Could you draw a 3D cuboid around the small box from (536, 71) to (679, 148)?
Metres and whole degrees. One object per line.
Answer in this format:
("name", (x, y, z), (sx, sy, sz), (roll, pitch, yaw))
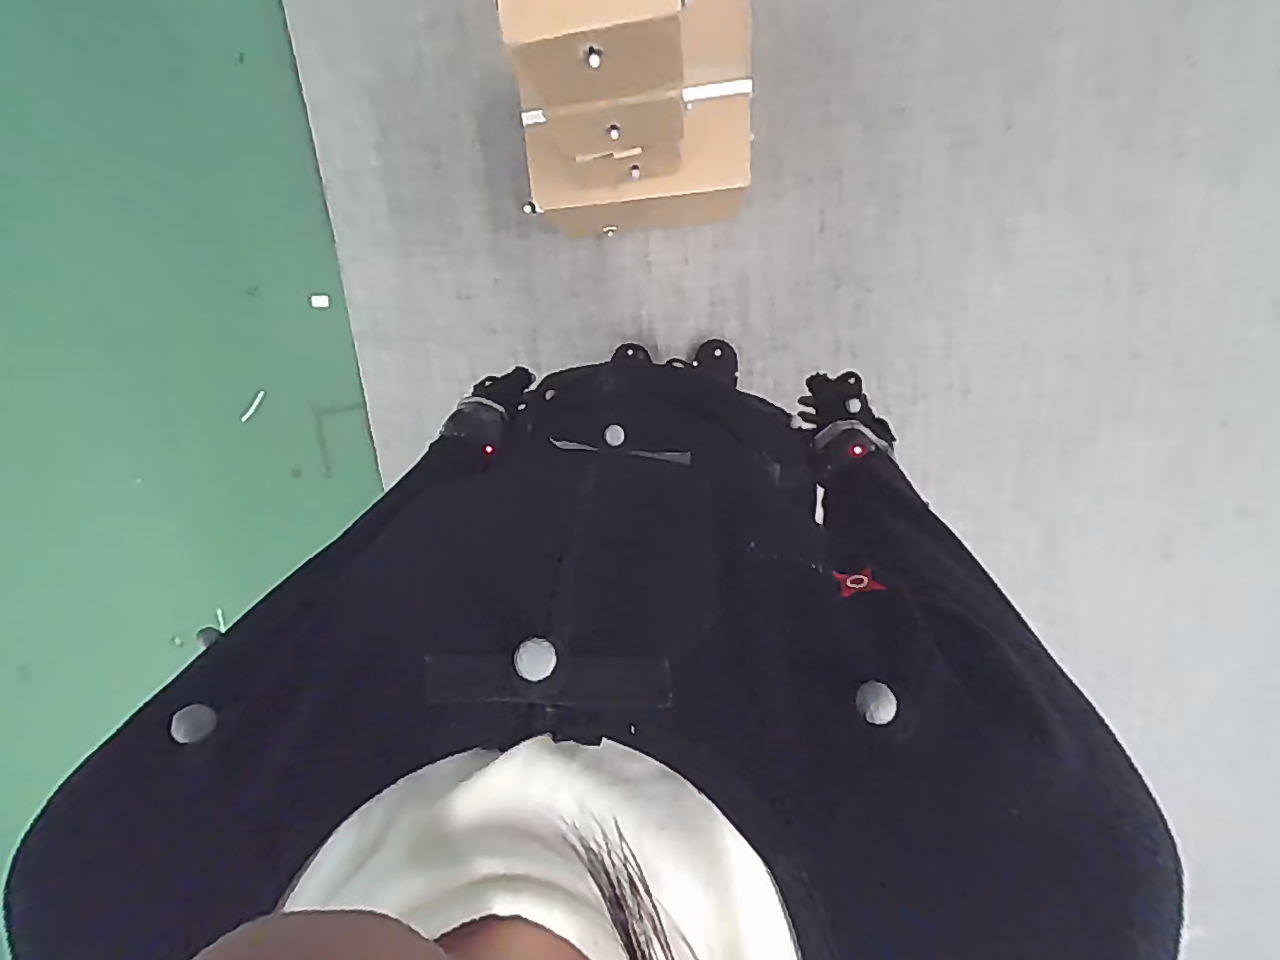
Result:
("small box", (-0.039, -0.565, 0.720), (0.179, 0.176, 0.168), (-3, 106, 8))

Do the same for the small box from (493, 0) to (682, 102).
("small box", (-0.051, -0.526, 0.564), (0.179, 0.176, 0.168), (-5, 107, 7))

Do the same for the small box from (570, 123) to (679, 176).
("small box", (-0.028, -0.613, 0.878), (0.168, 0.176, 0.179), (-6, 106, 8))
